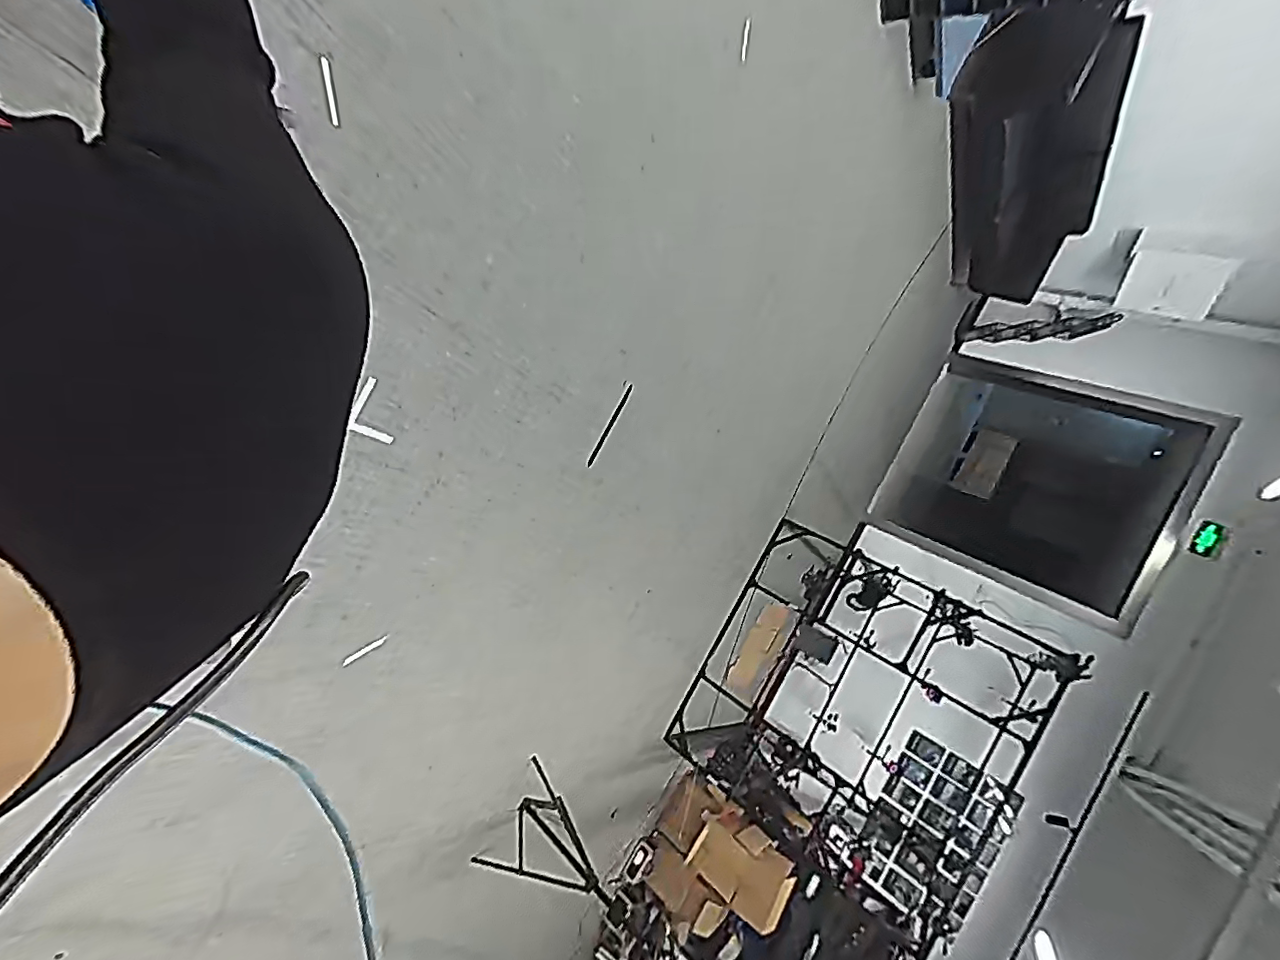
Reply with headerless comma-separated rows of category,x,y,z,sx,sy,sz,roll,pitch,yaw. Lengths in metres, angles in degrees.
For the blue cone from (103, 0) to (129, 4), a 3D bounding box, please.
blue cone,-0.762,-0.853,0.788,0.192,0.380,0.193,-49,144,-20
